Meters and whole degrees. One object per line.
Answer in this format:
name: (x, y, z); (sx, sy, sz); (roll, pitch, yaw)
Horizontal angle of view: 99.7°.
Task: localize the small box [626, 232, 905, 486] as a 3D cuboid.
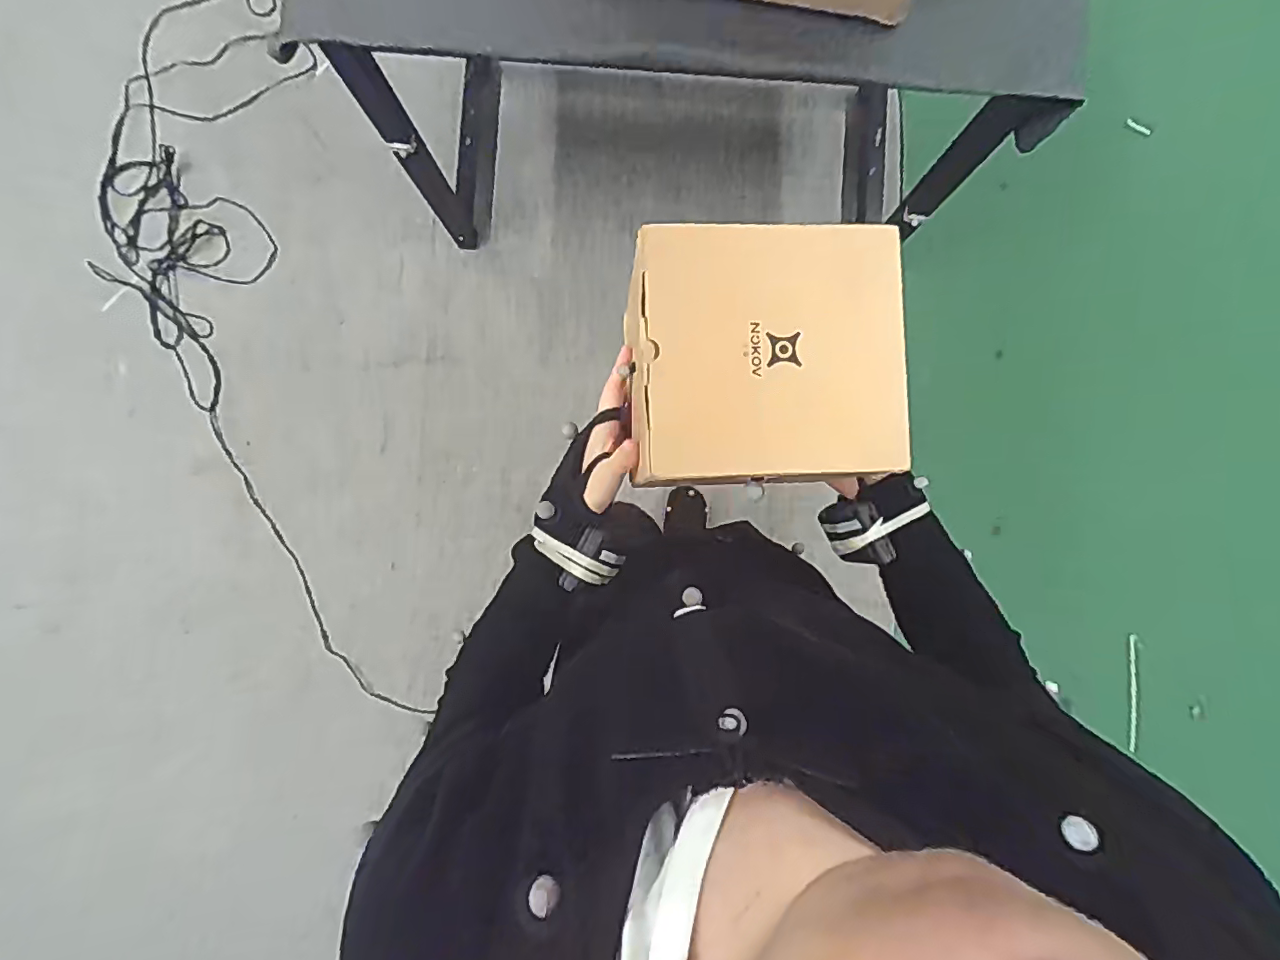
small box: (0.083, -0.081, 0.437); (0.179, 0.176, 0.168); (-3, 89, -4)
